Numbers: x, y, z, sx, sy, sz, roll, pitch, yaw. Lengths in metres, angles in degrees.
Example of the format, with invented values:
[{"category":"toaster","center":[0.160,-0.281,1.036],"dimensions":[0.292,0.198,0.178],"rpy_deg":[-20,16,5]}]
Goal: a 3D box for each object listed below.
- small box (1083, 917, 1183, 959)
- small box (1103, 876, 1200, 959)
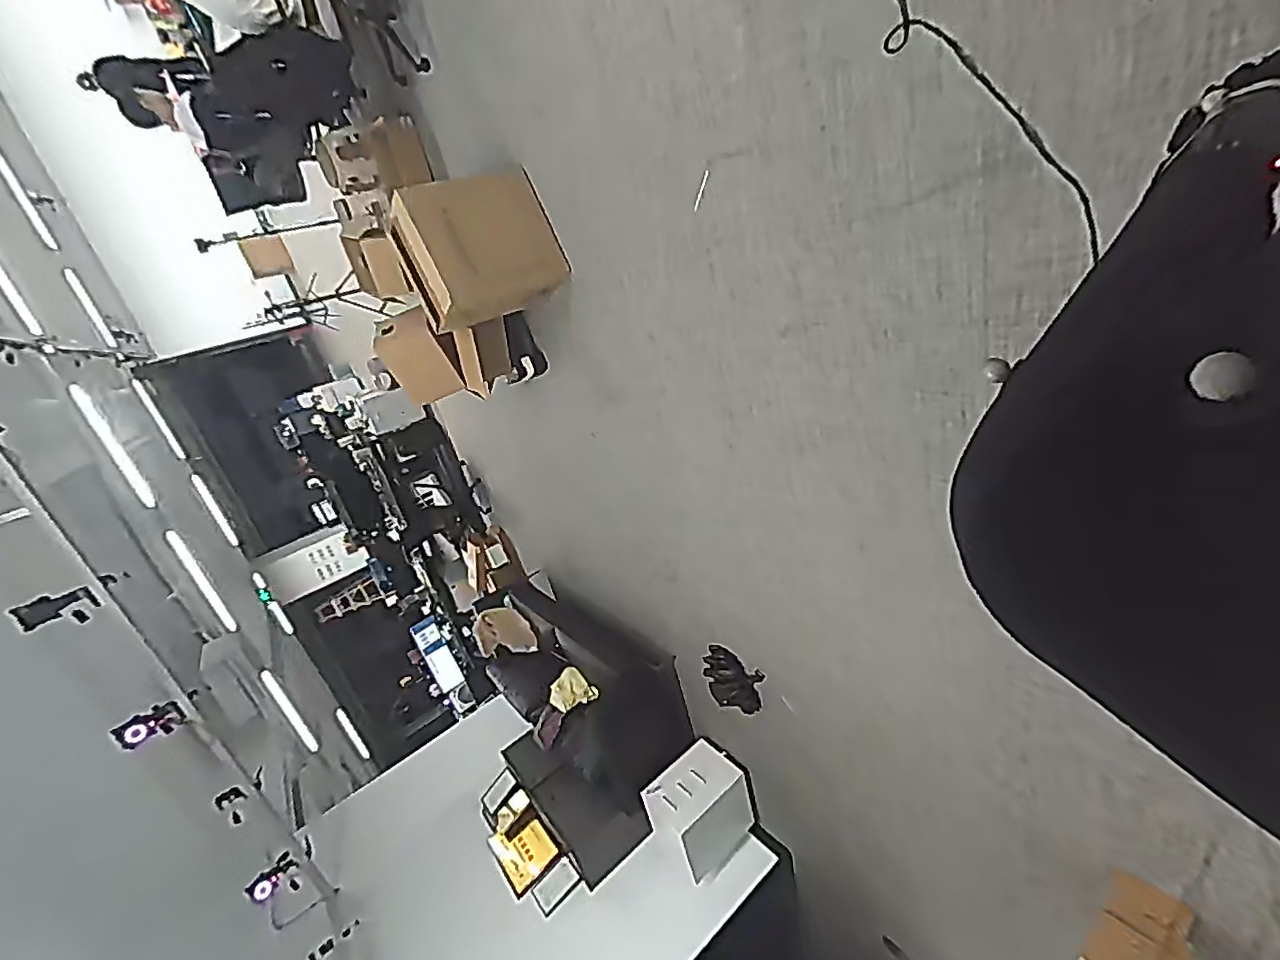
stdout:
[{"category":"small box","center":[1.377,1.381,1.514],"dimensions":[0.179,0.176,0.168],"rpy_deg":[18,129,52]},{"category":"small box","center":[1.504,1.323,1.597],"dimensions":[0.179,0.176,0.168],"rpy_deg":[14,126,51]}]
